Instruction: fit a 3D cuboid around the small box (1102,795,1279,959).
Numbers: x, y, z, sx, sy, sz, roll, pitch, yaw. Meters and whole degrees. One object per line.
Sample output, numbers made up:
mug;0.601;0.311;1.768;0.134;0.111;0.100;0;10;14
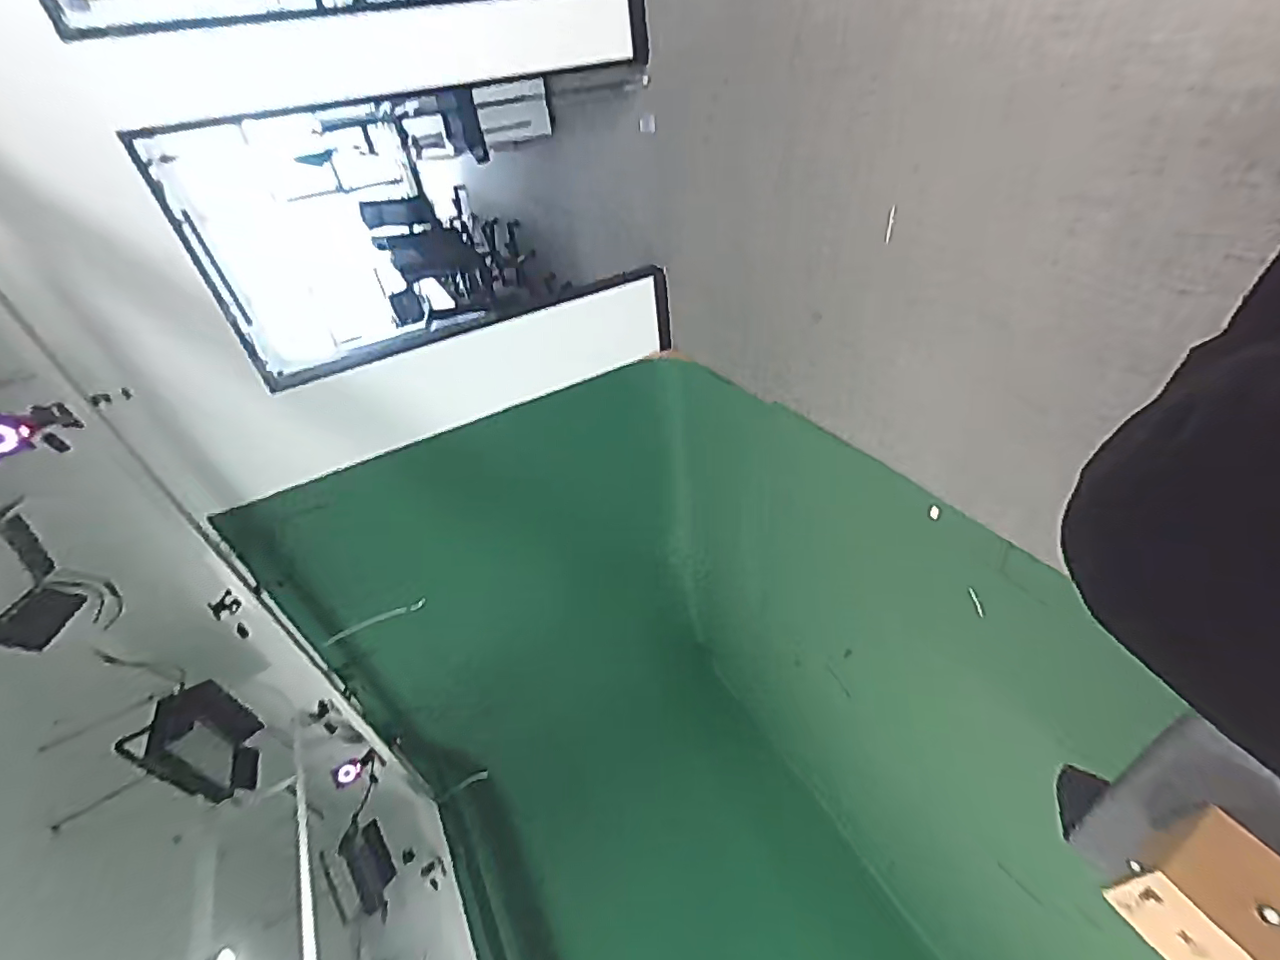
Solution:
small box;0.886;0.632;0.829;0.179;0.176;0.168;47;153;39
